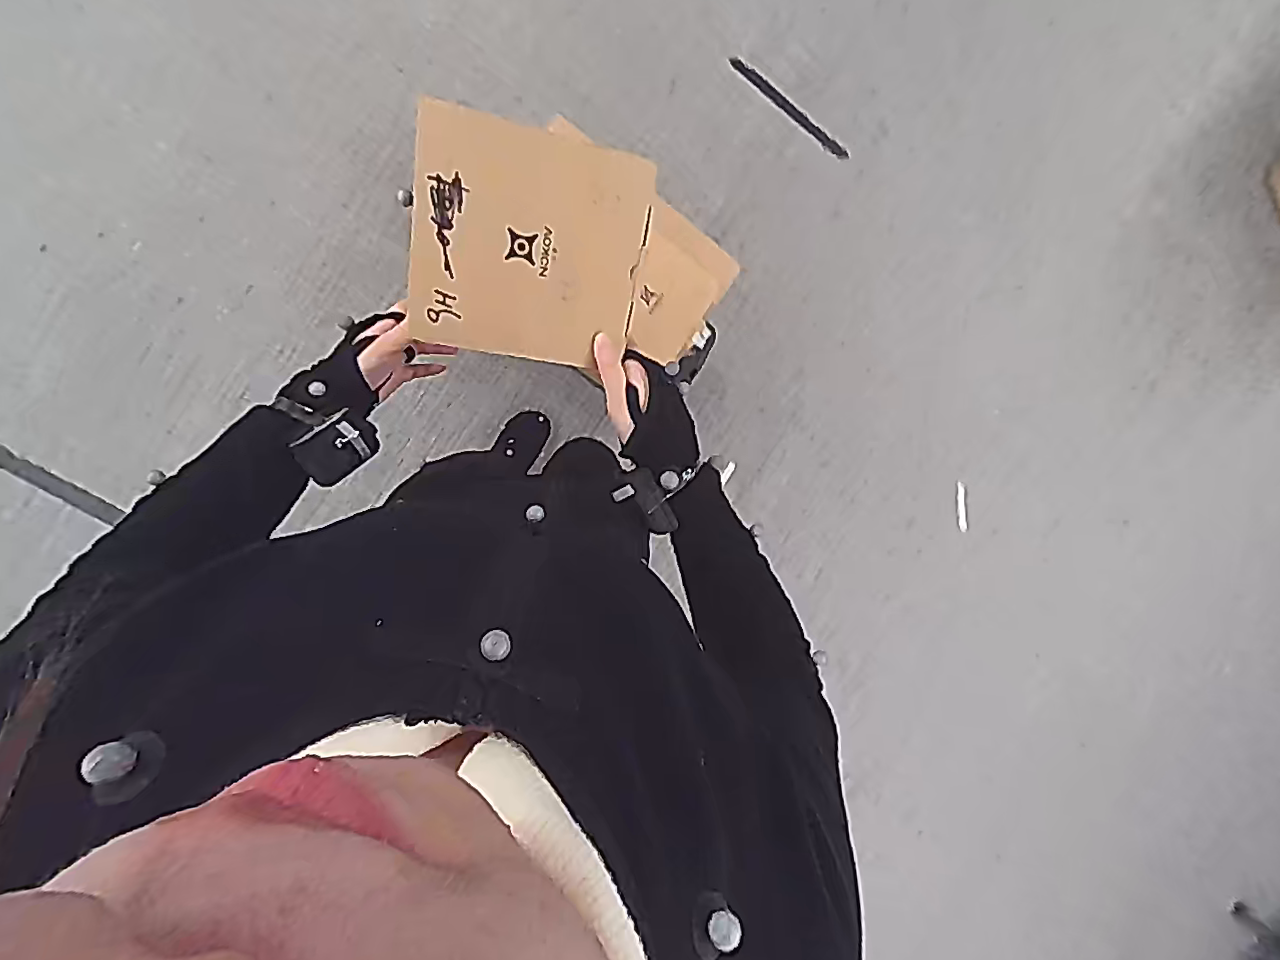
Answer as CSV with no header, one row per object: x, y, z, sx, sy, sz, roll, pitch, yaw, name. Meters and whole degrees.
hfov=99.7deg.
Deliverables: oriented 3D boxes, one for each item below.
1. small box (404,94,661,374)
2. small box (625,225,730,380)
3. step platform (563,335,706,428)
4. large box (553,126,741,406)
-0.102,-0.201,0.479,0.179,0.176,0.168,5,108,-18,small box
0.010,-0.277,0.869,0.179,0.176,0.168,35,93,-11,small box
-0.165,-0.435,1.313,0.684,0.204,0.286,40,91,-11,step platform
-0.077,-0.384,1.090,0.408,0.320,0.320,34,92,-11,large box
